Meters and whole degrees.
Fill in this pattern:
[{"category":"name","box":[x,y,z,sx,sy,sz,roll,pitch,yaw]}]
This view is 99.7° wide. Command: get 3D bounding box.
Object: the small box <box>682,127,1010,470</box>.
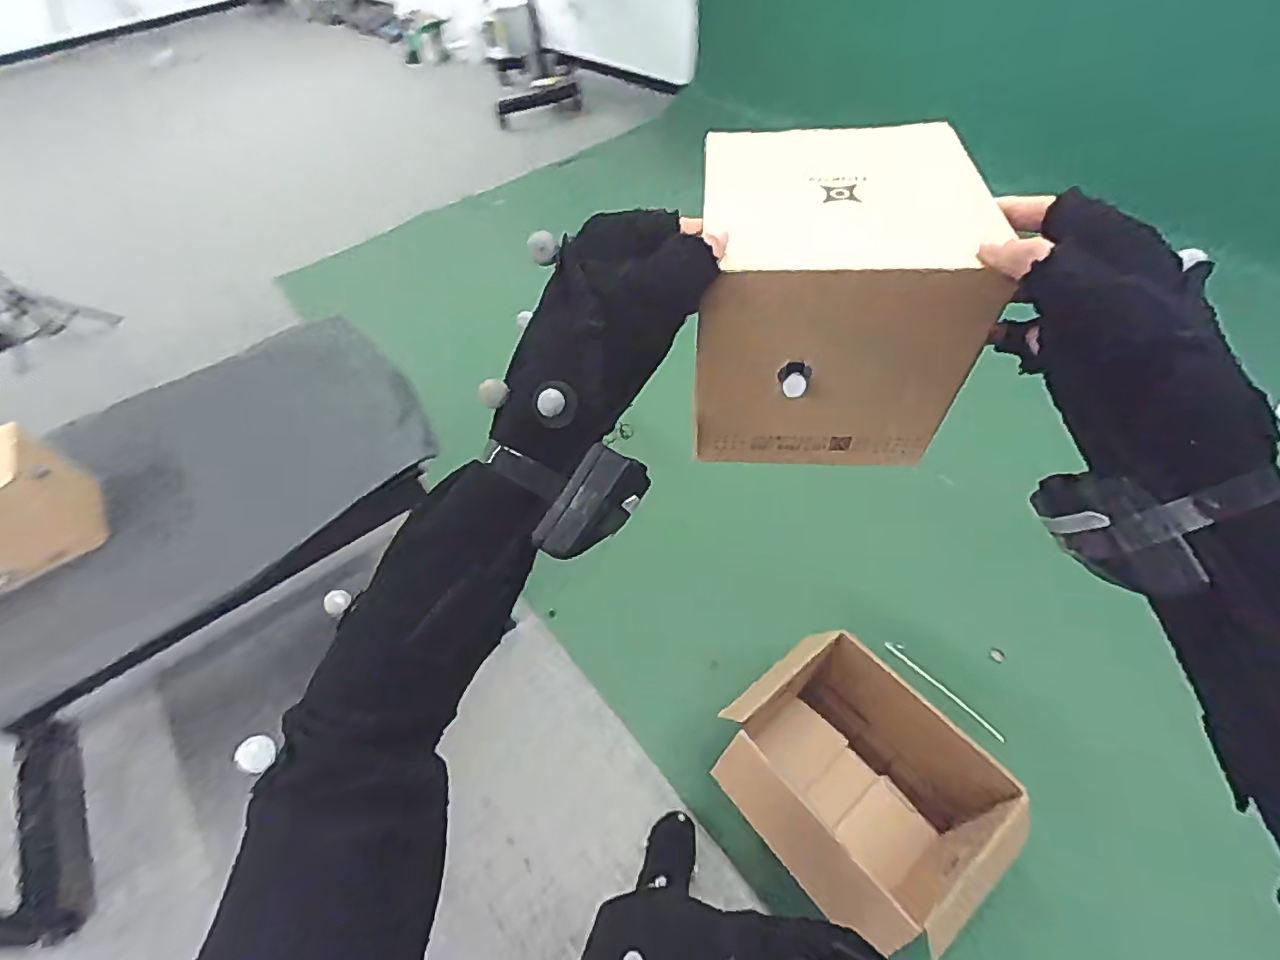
[{"category":"small box","box":[0.117,-0.121,0.388,0.168,0.176,0.179,1,53,6]}]
